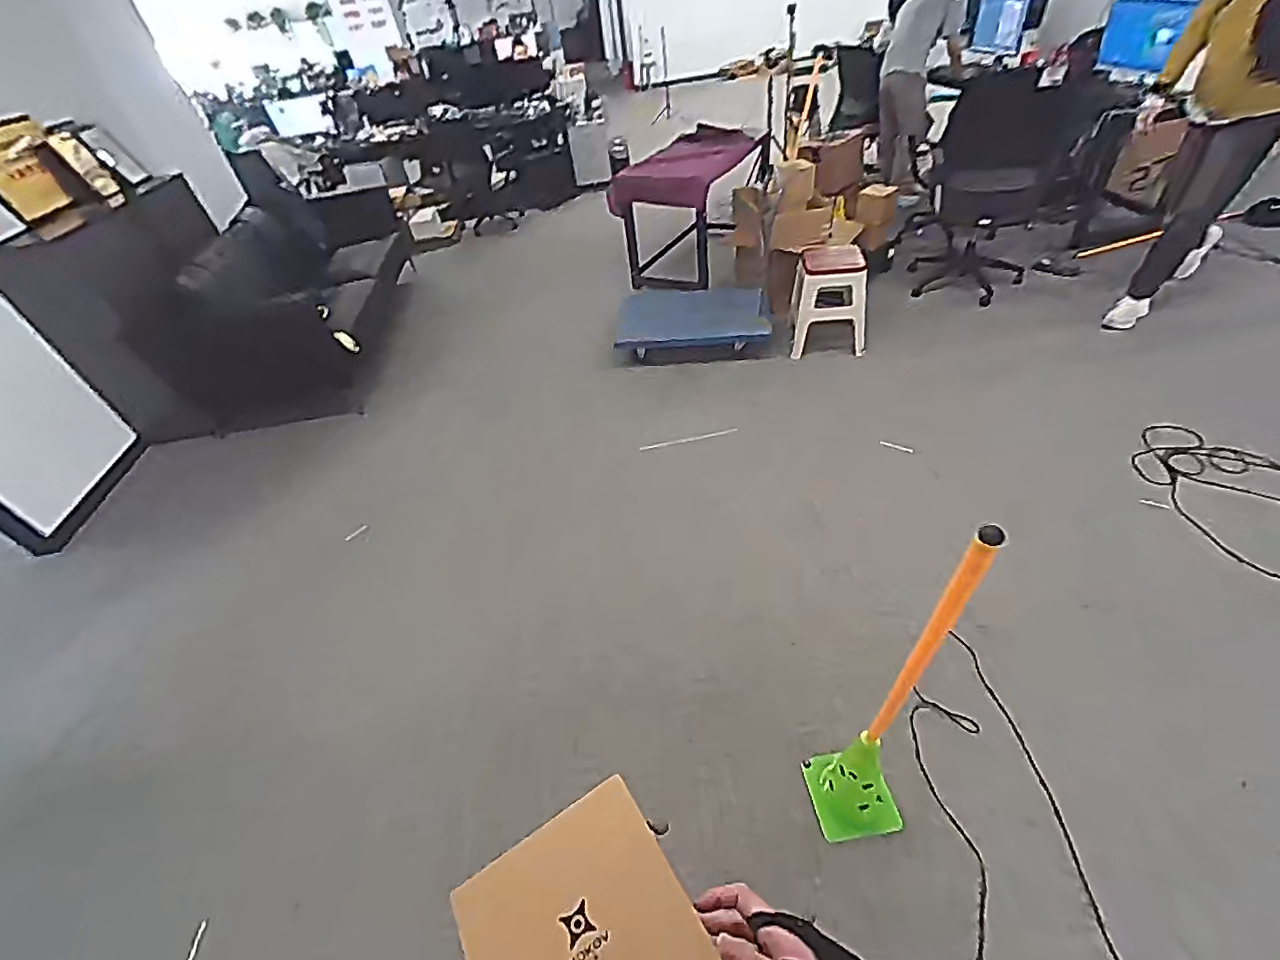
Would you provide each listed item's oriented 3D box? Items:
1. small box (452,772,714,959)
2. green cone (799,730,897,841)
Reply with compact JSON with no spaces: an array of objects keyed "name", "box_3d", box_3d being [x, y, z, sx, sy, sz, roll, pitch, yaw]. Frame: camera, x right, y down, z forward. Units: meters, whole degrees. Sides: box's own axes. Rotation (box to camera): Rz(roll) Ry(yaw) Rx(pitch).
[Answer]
[{"name":"small box","box_3d":[-0.038,0.408,0.474,0.168,0.176,0.179,-27,43,-16]},{"name":"green cone","box_3d":[0.525,0.701,1.305,0.202,0.368,0.200,-9,43,-2]}]
